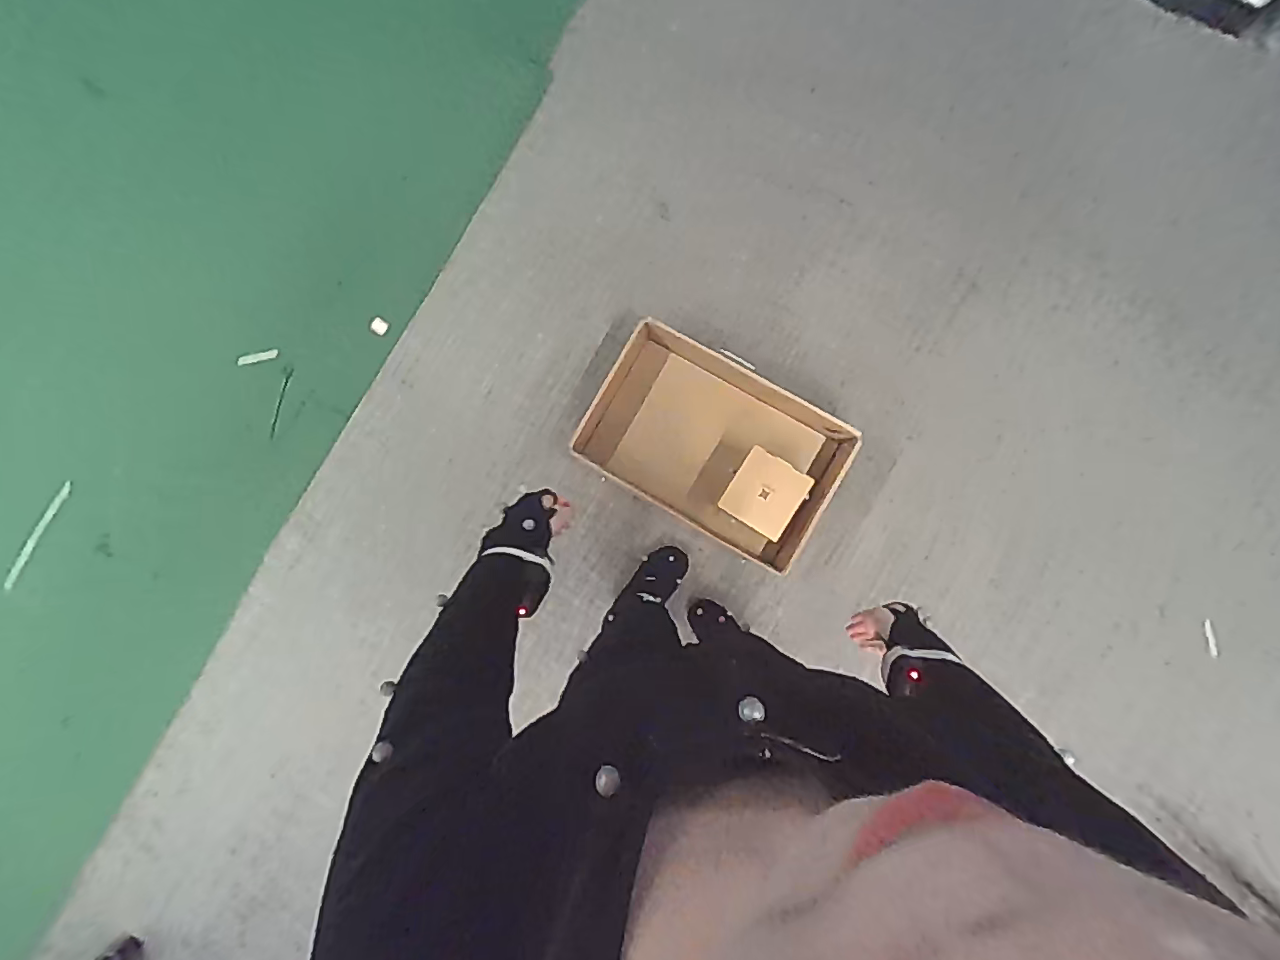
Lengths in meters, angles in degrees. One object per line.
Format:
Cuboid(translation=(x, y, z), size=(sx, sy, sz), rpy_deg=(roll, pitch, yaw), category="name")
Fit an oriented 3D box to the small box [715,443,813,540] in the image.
Cuboid(translation=(0.301, 0.031, 1.350), size=(0.168, 0.176, 0.179), rpy_deg=(33, 89, 5), category="small box")
